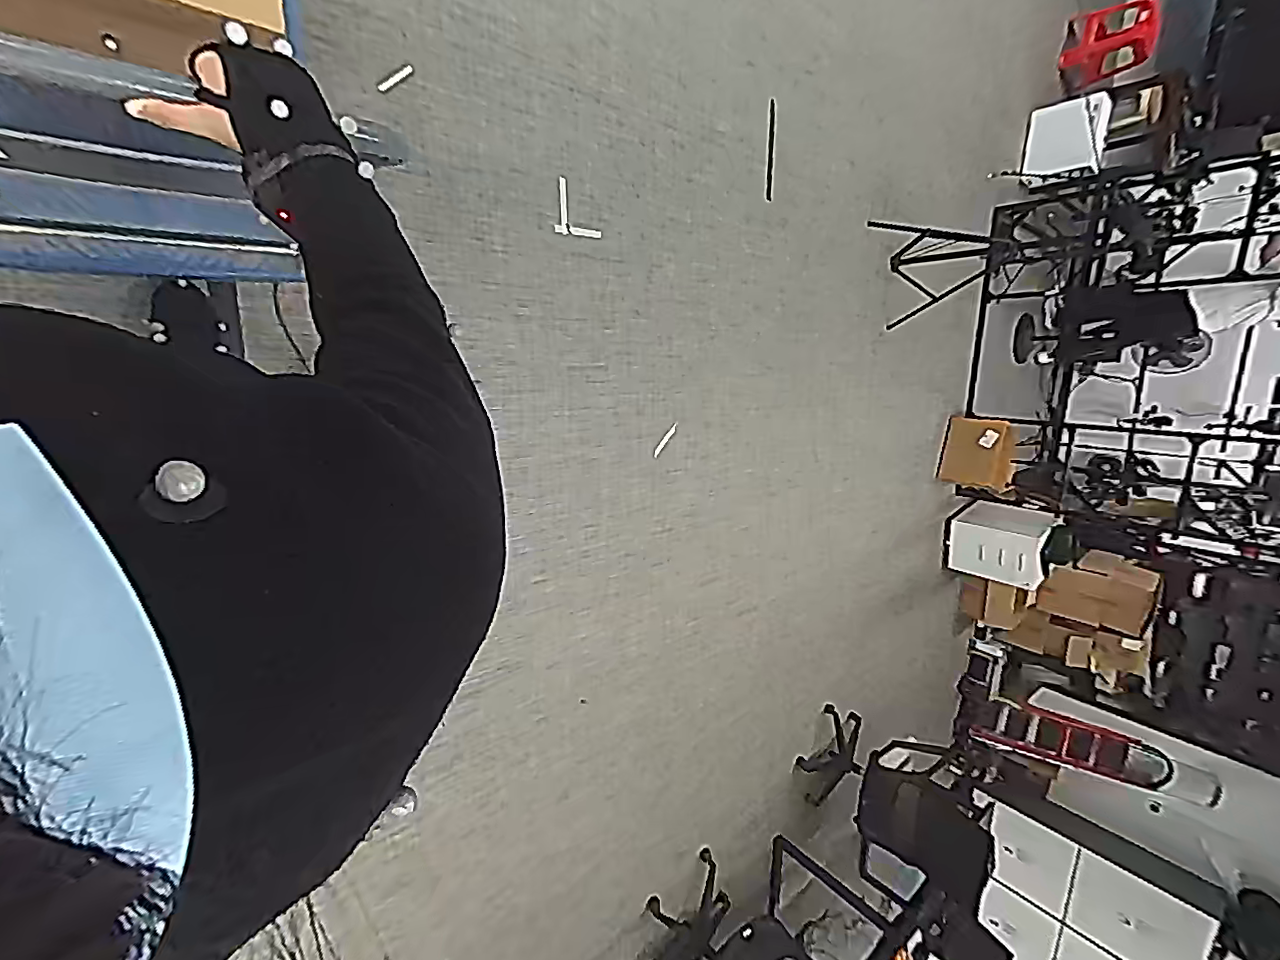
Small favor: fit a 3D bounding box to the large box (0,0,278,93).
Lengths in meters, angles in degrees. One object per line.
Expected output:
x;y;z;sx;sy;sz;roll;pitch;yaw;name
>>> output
-0.780;-0.810;0.751;0.408;0.320;0.320;-11;106;-38;large box
